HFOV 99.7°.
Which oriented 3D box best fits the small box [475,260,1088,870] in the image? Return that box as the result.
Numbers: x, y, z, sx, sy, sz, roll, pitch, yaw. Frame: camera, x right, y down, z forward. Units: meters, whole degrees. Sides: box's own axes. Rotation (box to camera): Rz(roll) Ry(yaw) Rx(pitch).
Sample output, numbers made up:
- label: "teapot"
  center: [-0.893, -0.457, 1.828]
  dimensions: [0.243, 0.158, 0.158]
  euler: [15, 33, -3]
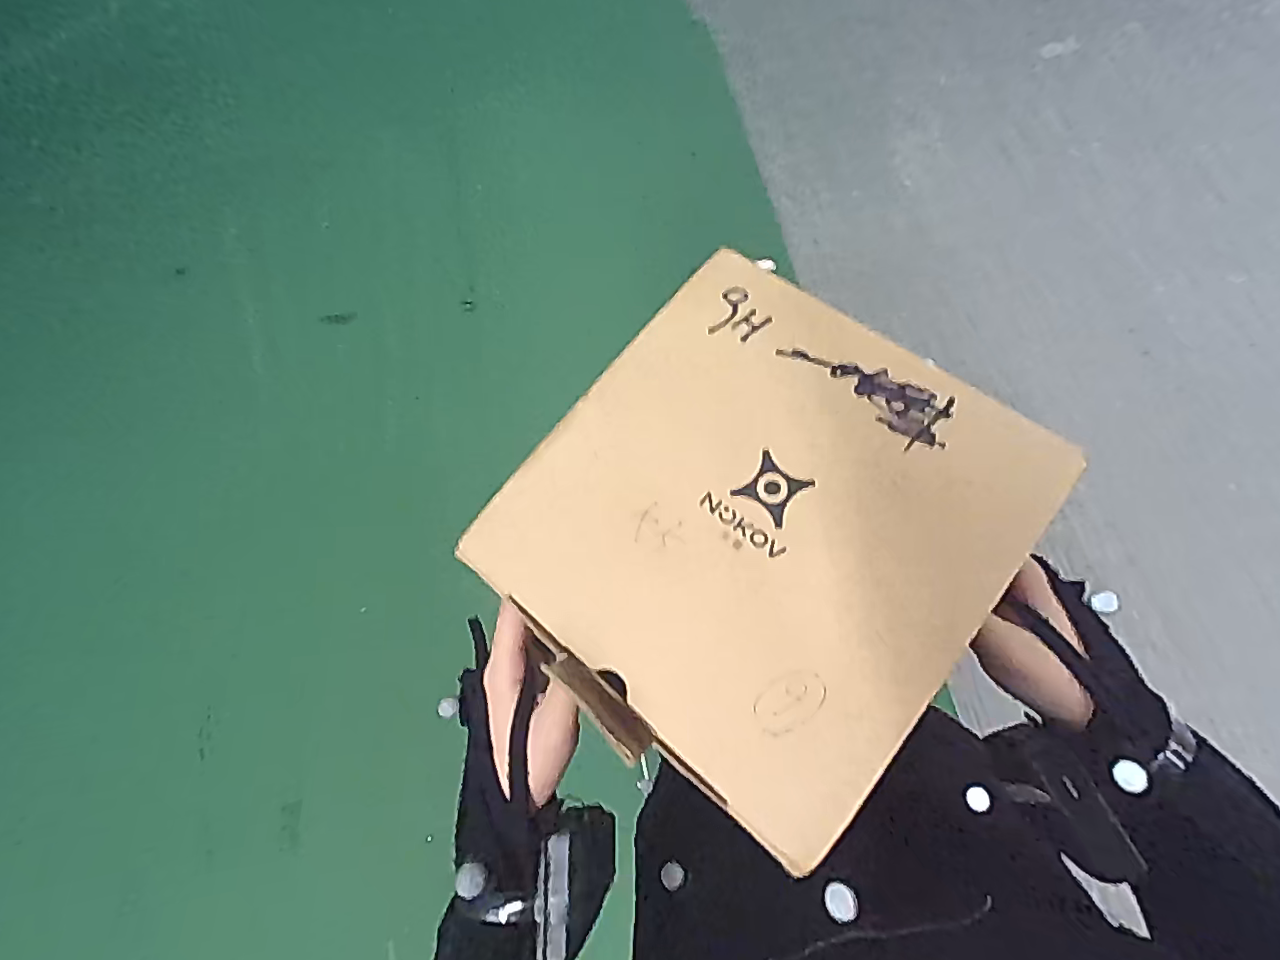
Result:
- label: "small box"
  center: [0.057, 0.037, 0.282]
  dimensions: [0.168, 0.176, 0.179]
  euler: [39, 82, 15]
